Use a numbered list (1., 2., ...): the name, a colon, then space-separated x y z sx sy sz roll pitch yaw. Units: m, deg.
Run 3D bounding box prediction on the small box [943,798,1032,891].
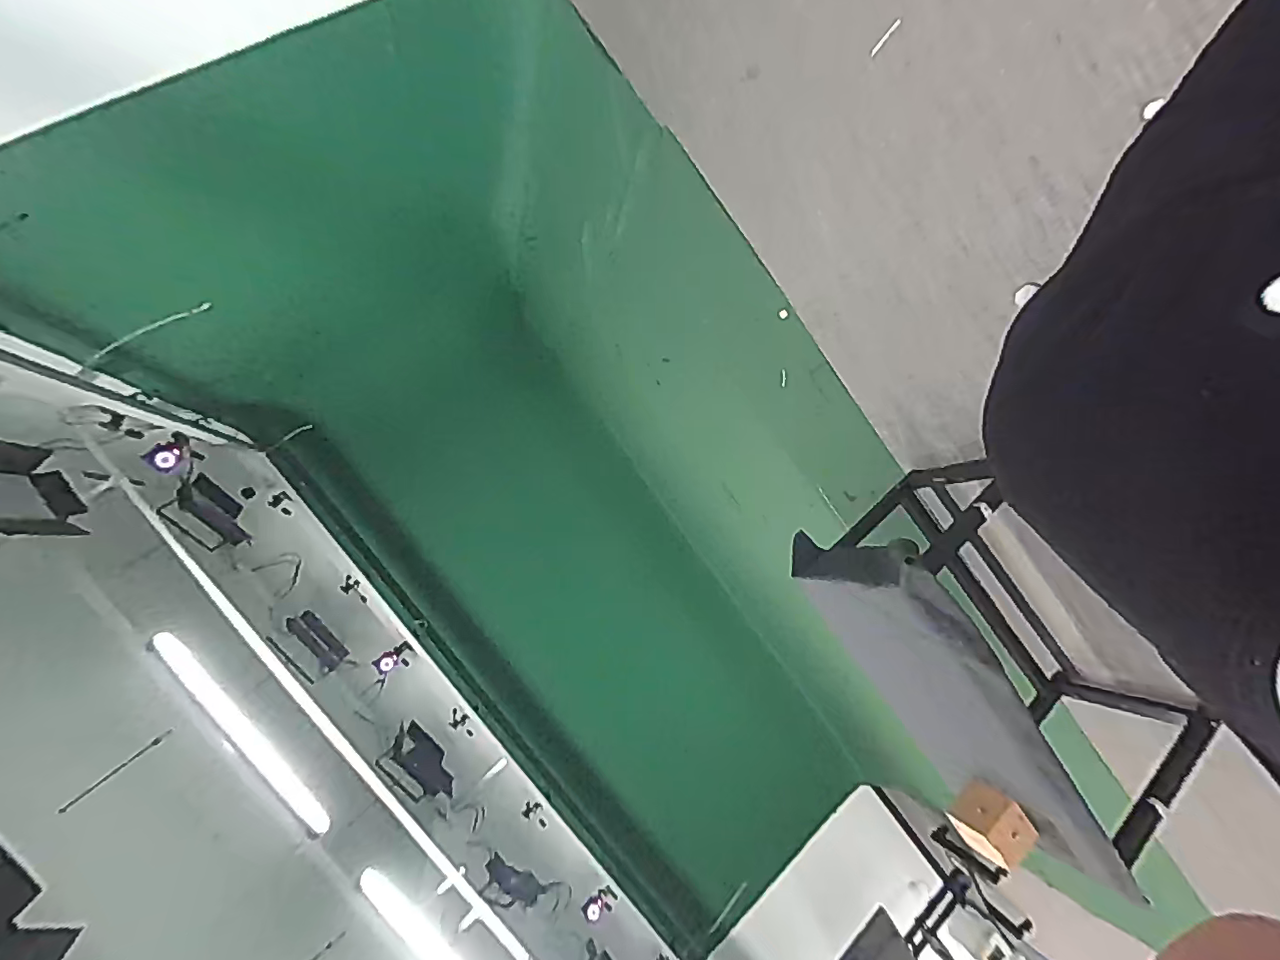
1. small box: 1.208 1.247 1.870 0.168 0.176 0.179 55 163 -5
